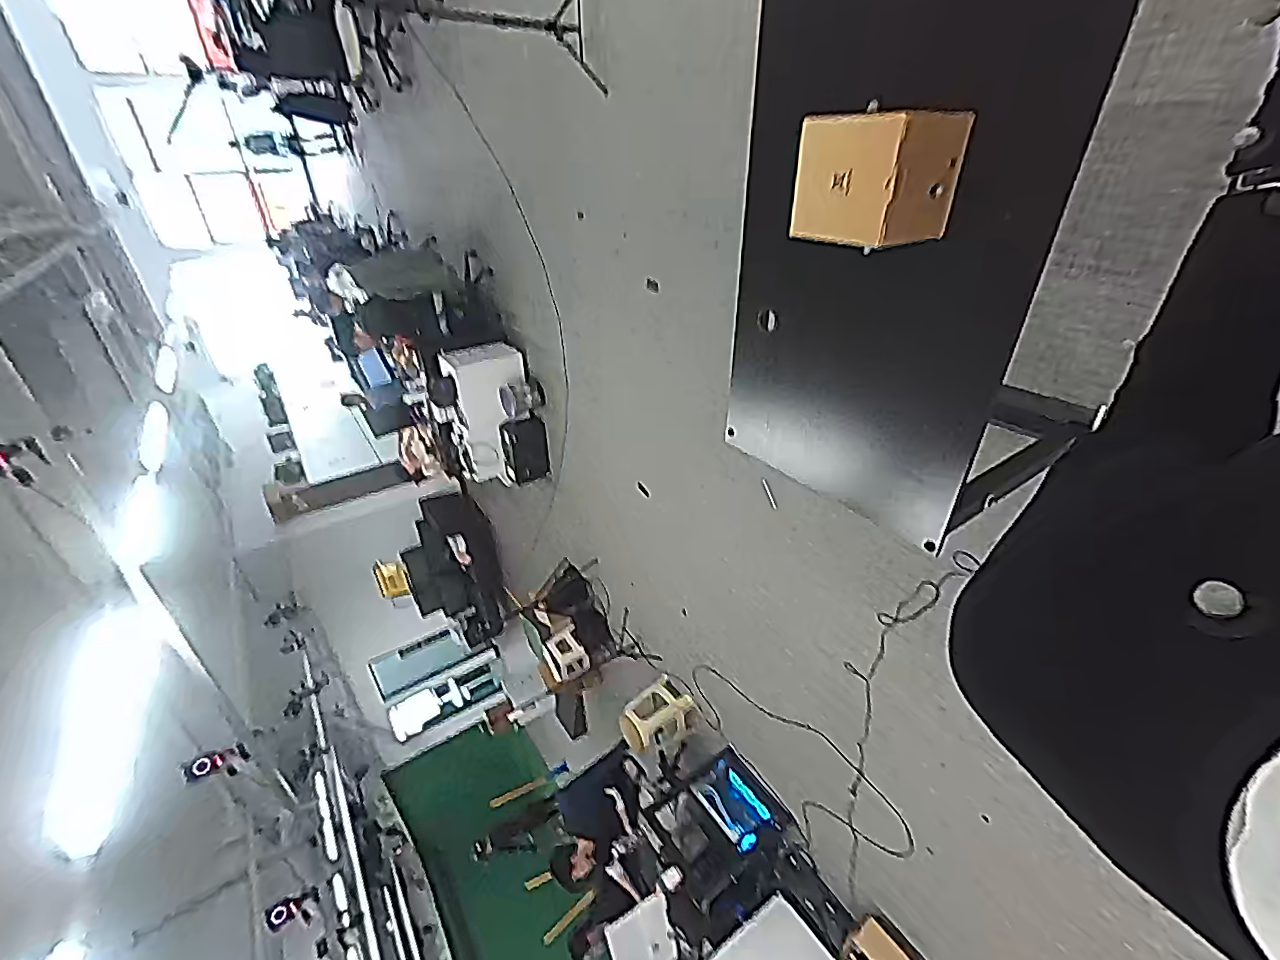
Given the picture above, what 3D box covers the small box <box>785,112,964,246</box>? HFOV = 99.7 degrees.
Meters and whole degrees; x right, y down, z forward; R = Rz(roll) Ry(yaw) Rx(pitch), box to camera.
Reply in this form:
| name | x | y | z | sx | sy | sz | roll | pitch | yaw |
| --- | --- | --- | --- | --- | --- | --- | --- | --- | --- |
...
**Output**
| name | x | y | z | sx | sy | sz | roll | pitch | yaw |
| --- | --- | --- | --- | --- | --- | --- | --- | --- | --- |
| small box | 0.357 | -0.471 | 0.844 | 0.179 | 0.176 | 0.168 | 36 | 138 | 45 |
